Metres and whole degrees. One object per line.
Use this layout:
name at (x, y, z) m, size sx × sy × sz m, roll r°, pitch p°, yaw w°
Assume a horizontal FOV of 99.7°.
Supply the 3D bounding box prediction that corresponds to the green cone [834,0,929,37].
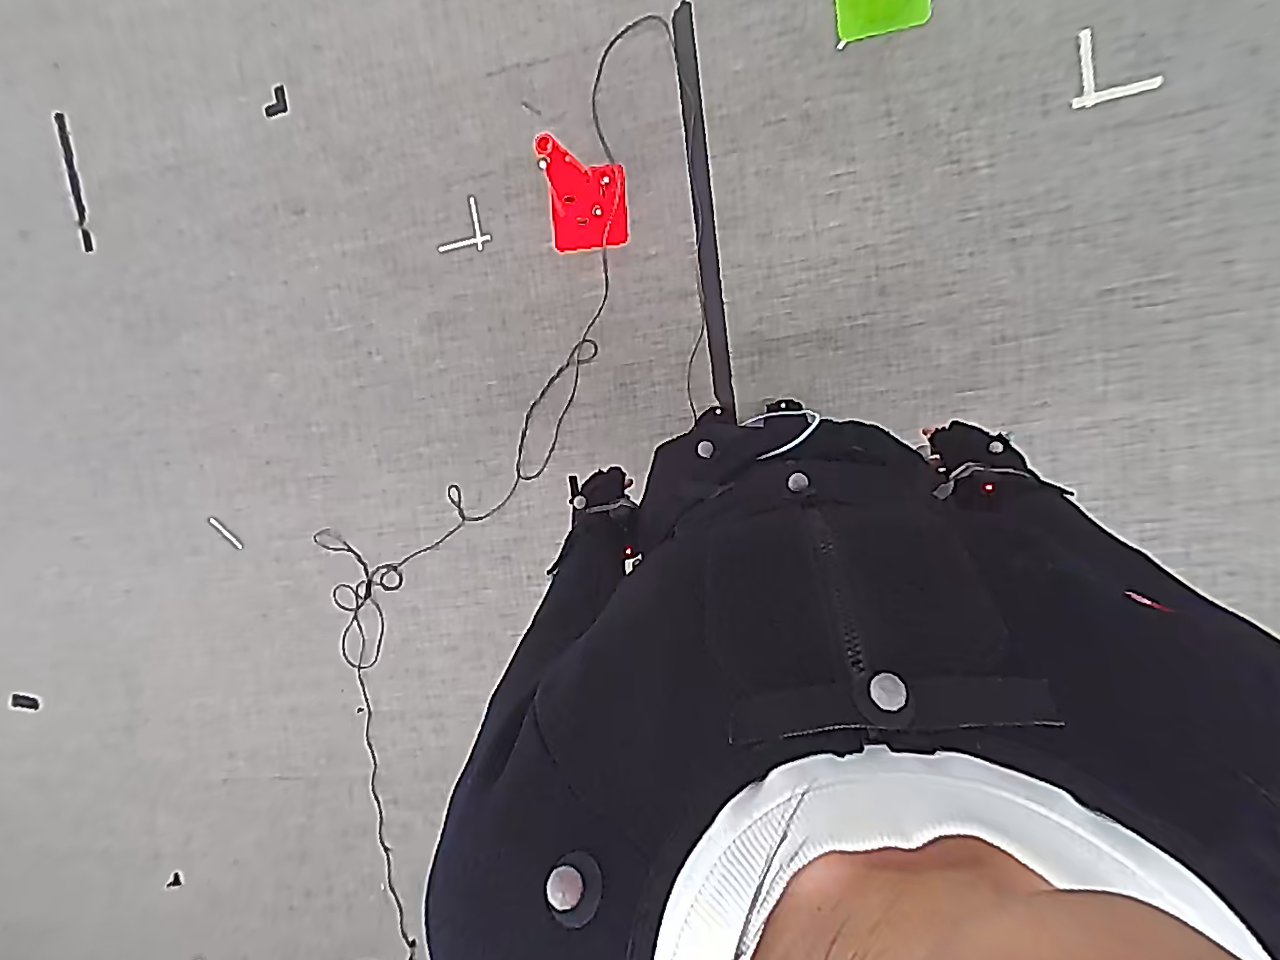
green cone at (0.514, -1.092, 1.045) m, size 0.202 × 0.368 × 0.200 m, roll -7°, pitch 97°, yaw 9°

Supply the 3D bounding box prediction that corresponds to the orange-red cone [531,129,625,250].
orange-red cone at (-0.165, -0.678, 1.217) m, size 0.199 × 0.360 × 0.198 m, roll -2°, pitch 96°, yaw 11°
